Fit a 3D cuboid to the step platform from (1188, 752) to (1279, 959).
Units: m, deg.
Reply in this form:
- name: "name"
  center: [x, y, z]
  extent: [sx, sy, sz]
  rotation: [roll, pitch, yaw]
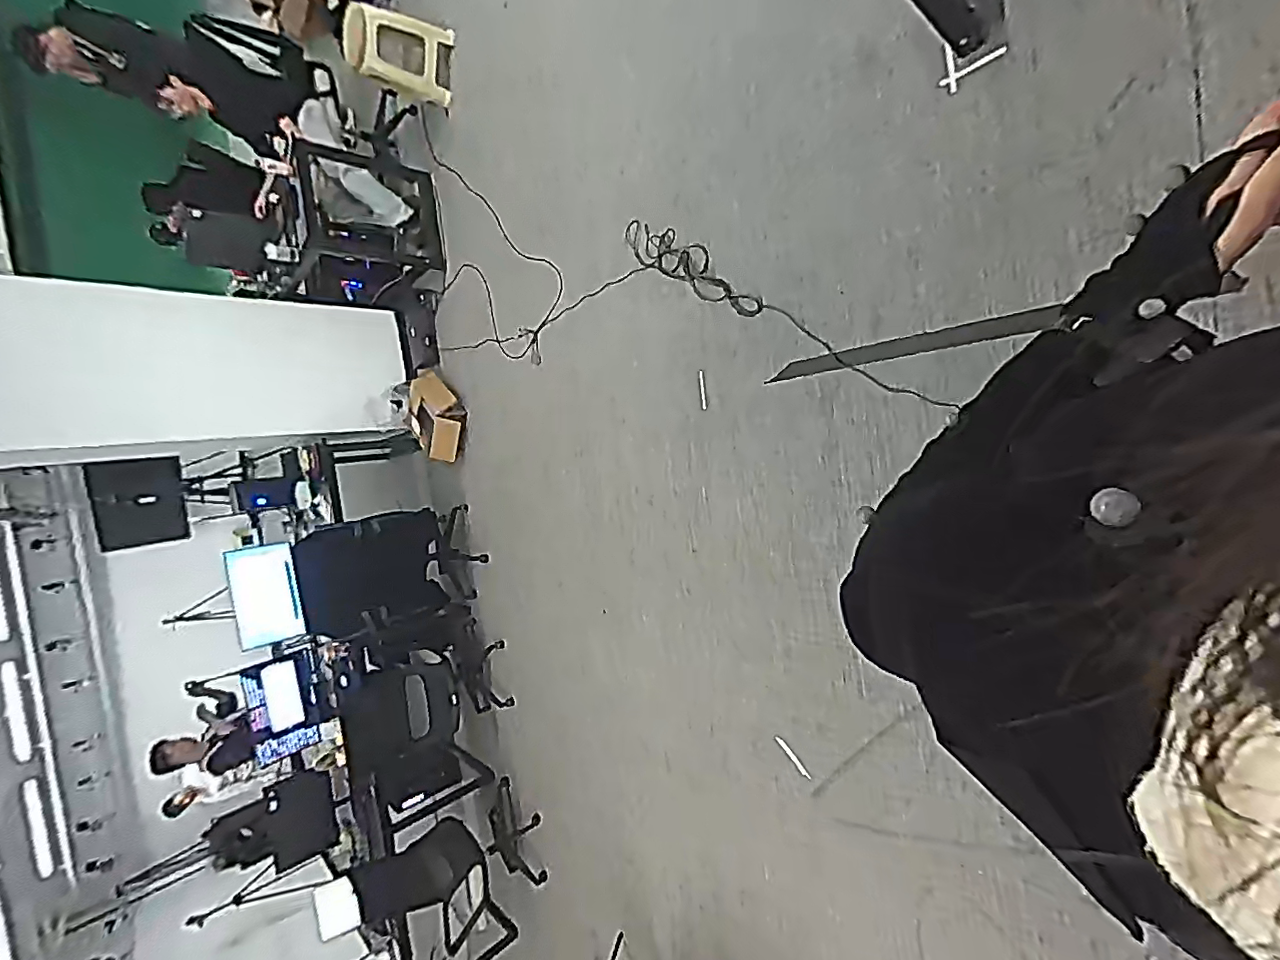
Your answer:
- name: "step platform"
  center: [1.313, 0.710, 0.814]
  extent: [0.684, 0.204, 0.286]
  rotation: [5, 101, 46]
